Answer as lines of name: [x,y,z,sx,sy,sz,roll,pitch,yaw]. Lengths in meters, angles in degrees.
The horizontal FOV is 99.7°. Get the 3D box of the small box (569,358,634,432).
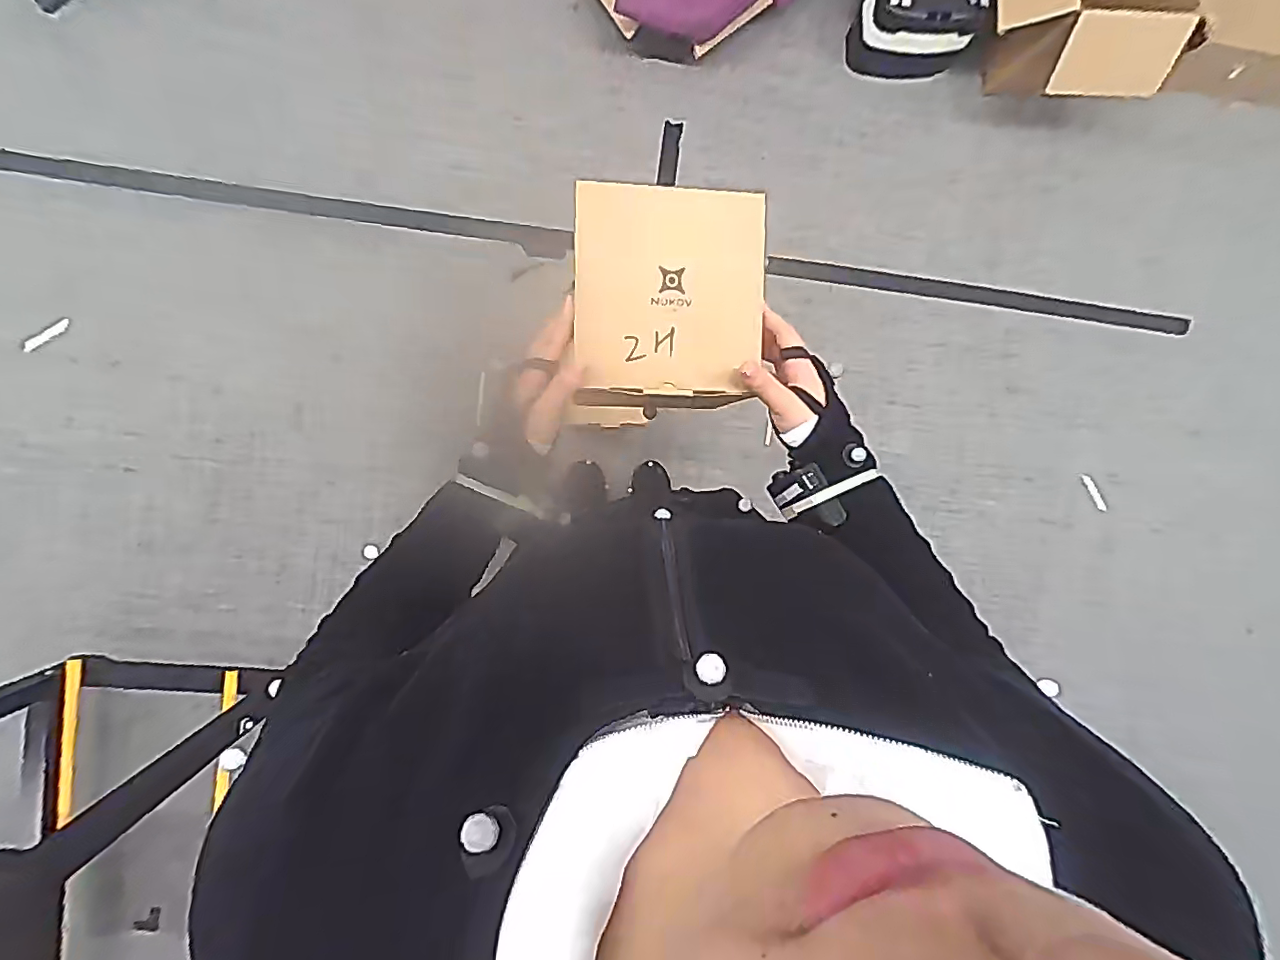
small box: [-0.096,-0.215,1.401,0.168,0.176,0.179,0,94,-3]

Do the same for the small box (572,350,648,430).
small box: [-0.067,-0.203,1.239,0.168,0.176,0.179,-1,94,-3]

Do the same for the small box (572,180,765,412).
small box: [0.017,-0.165,0.539,0.168,0.176,0.179,1,93,-6]
